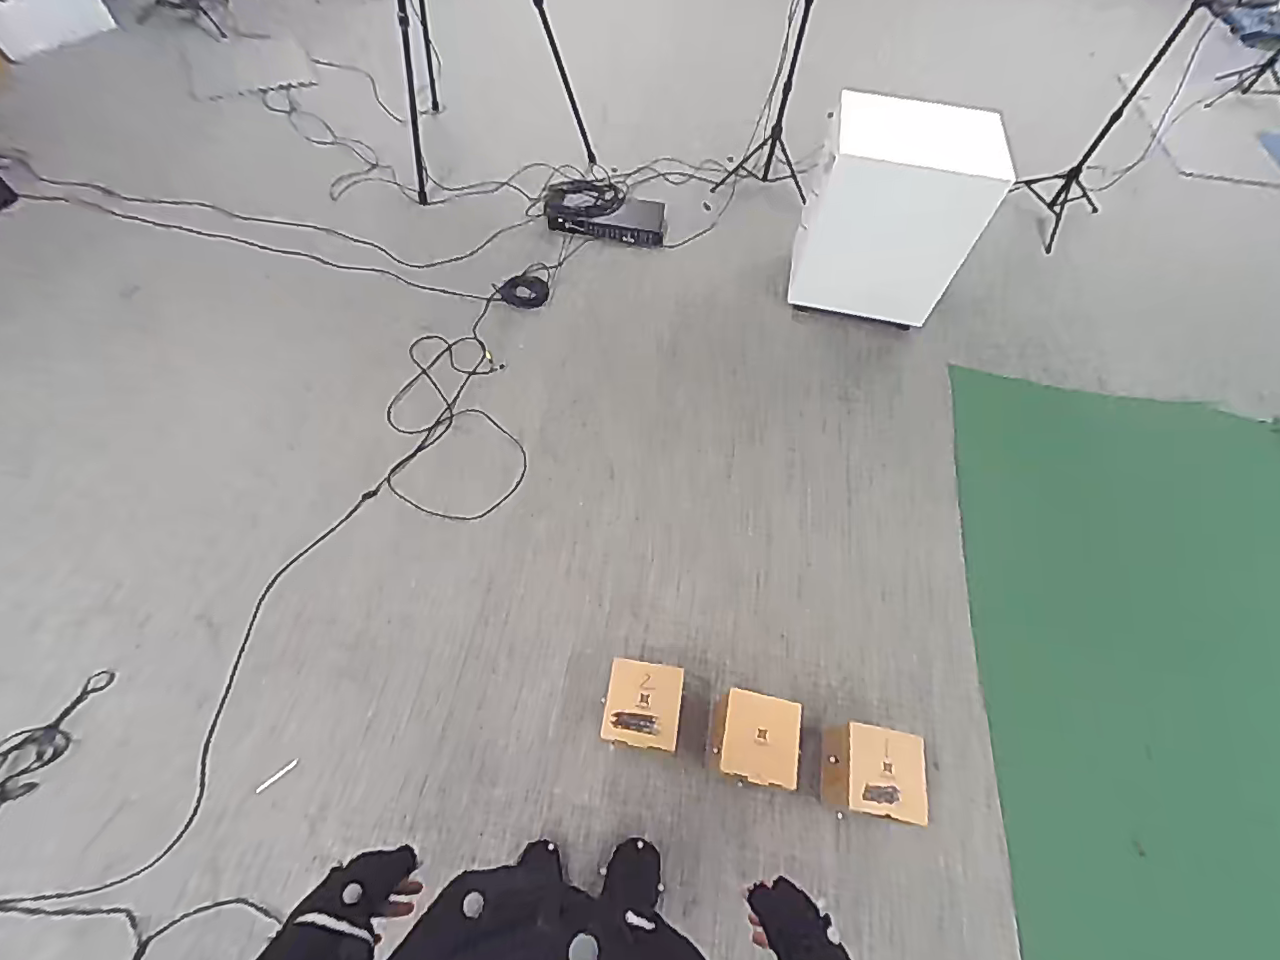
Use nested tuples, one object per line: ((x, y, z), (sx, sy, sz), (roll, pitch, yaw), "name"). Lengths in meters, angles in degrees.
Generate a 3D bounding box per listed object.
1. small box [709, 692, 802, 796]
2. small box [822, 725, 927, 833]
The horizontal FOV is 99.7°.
((0.260, 0.608, 1.240), (0.168, 0.176, 0.179), (12, 59, 4), "small box")
((0.520, 0.673, 1.217), (0.168, 0.176, 0.179), (12, 58, 3), "small box")
